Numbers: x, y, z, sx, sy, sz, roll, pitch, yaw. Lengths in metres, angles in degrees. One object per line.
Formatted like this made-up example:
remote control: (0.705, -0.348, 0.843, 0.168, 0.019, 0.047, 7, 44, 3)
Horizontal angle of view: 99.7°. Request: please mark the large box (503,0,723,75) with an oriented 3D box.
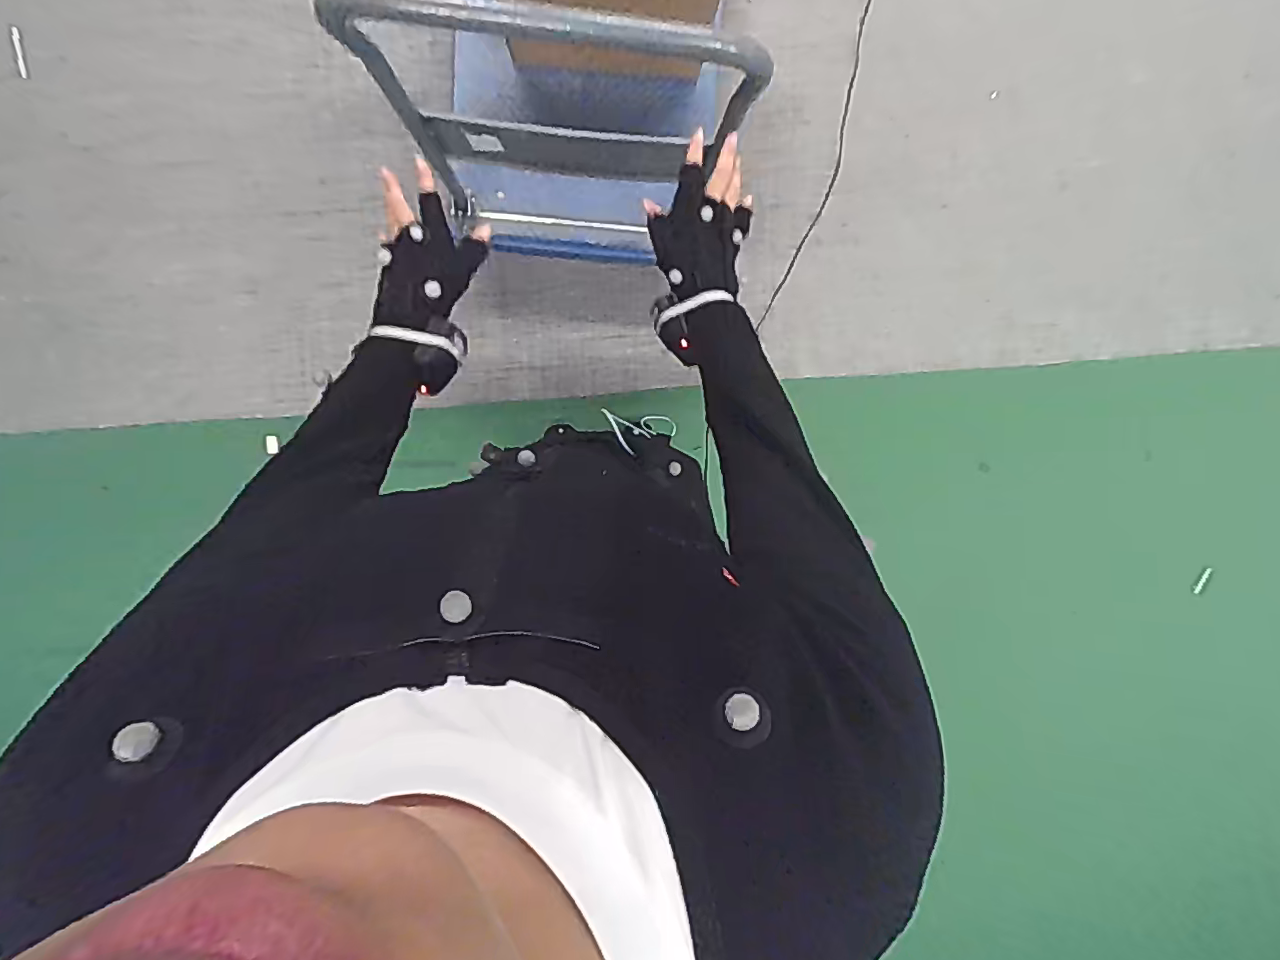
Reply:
large box: (-0.049, -1.024, 1.017, 0.408, 0.320, 0.320, 2, 97, -3)
